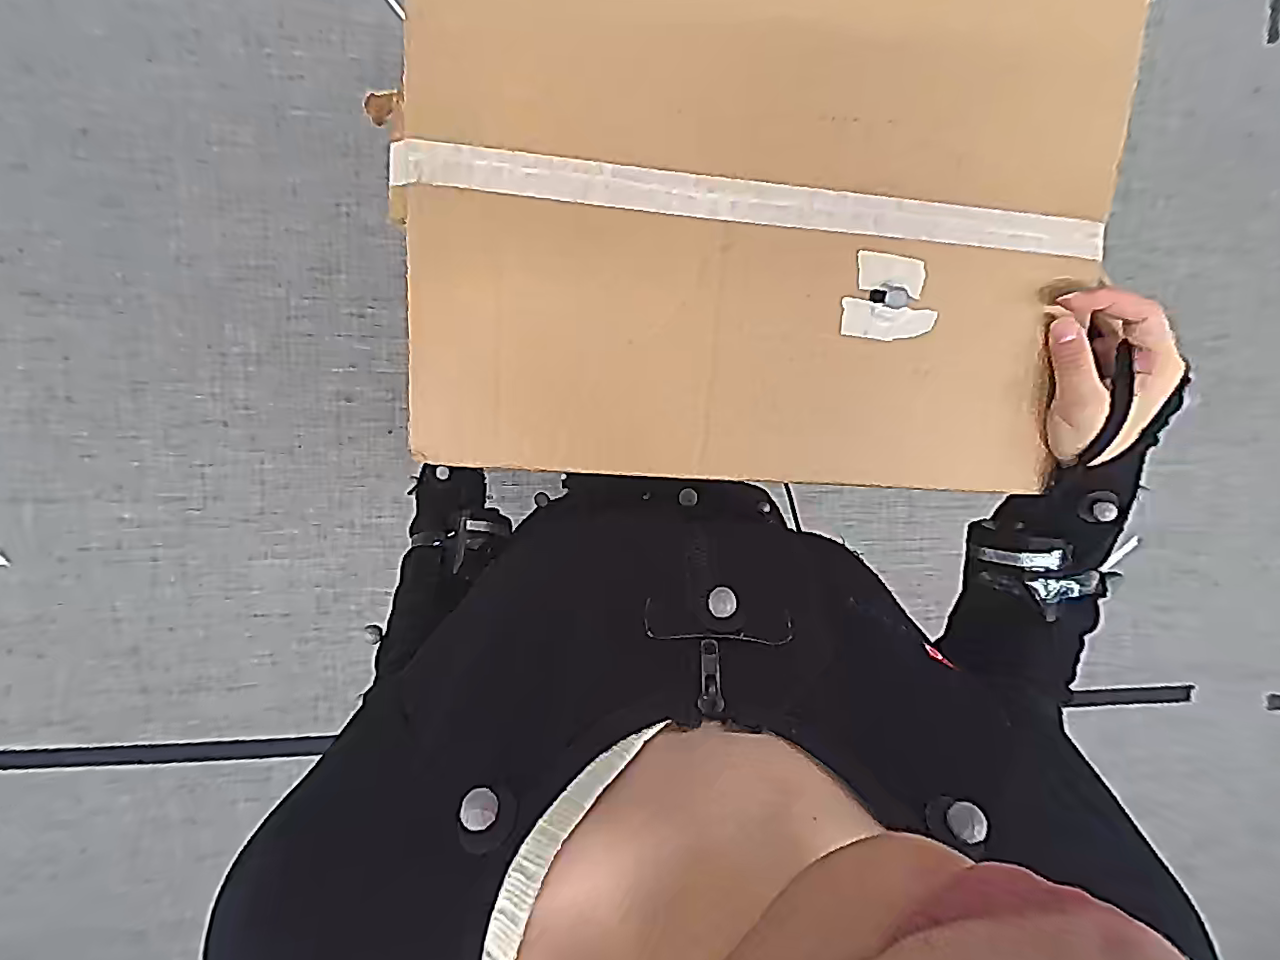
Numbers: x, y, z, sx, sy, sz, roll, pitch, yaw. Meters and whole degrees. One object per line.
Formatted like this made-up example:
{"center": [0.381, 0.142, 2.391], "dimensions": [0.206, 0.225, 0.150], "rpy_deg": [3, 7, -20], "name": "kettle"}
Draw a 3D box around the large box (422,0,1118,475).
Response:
{"center": [0.059, -0.183, 0.458], "dimensions": [0.408, 0.320, 0.320], "rpy_deg": [2, 100, -9], "name": "large box"}
